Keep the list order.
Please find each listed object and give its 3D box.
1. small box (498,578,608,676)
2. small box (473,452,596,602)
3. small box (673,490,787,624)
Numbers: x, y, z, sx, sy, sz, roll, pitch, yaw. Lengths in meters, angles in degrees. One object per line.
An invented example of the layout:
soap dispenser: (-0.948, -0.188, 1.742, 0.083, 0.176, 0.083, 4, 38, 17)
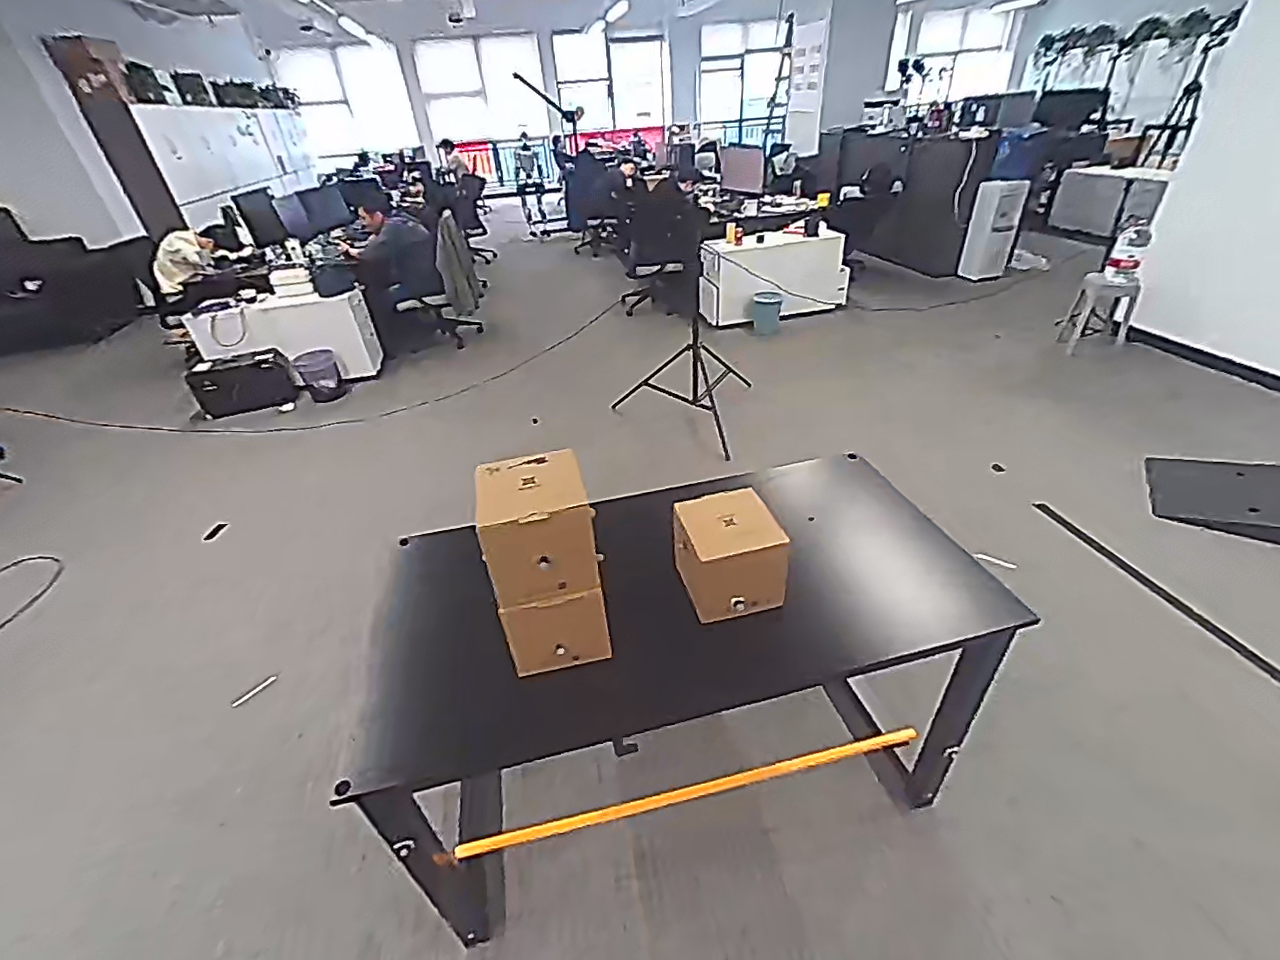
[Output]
small box: (-0.156, 0.221, 0.981, 0.168, 0.176, 0.179, -10, 35, -7)
small box: (-0.173, 0.081, 0.896, 0.168, 0.176, 0.179, -12, 35, -9)
small box: (0.167, 0.147, 1.050, 0.168, 0.176, 0.179, -13, 36, -8)
